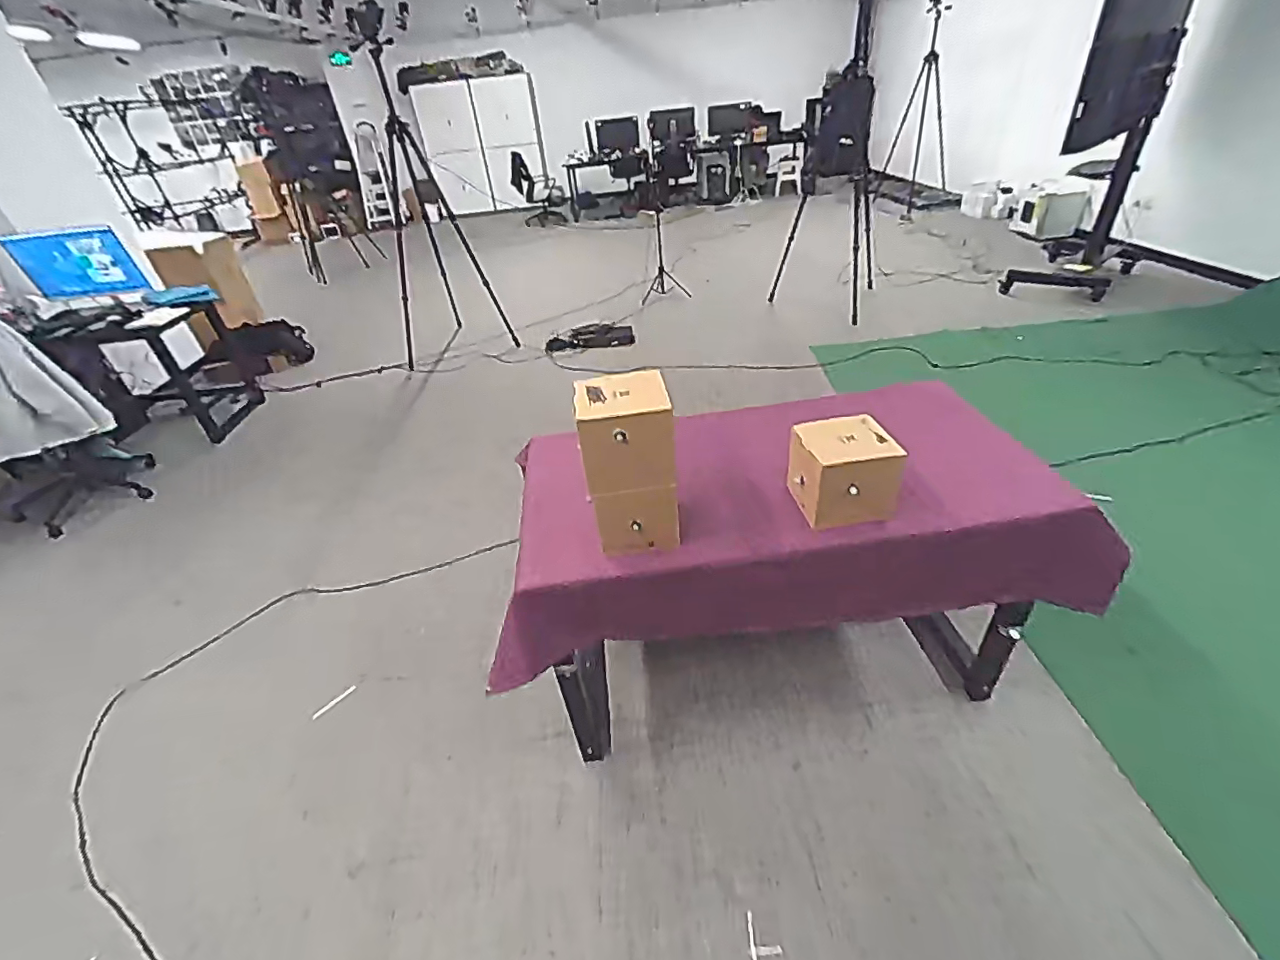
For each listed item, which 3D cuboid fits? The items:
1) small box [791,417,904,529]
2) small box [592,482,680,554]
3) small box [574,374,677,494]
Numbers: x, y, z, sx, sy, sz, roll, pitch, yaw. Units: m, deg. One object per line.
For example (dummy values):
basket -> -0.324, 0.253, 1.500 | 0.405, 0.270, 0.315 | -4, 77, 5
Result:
small box -> 0.433, -0.013, 1.159 | 0.179, 0.176, 0.168 | -9, 36, -2
small box -> -0.010, 0.045, 1.157 | 0.168, 0.176, 0.179 | -8, 35, -1
small box -> -0.028, -0.088, 1.061 | 0.179, 0.176, 0.168 | -8, 36, -2
